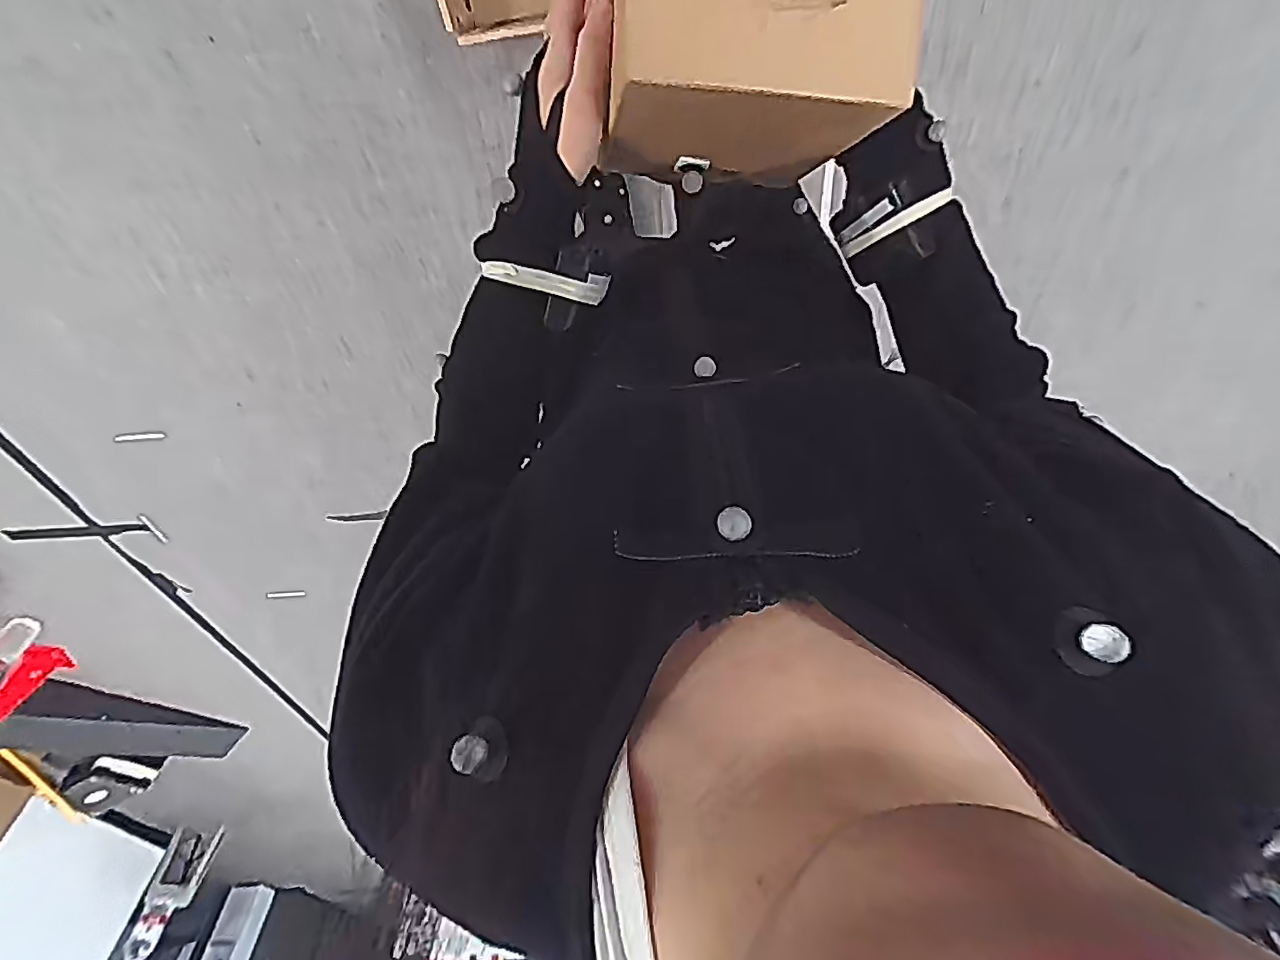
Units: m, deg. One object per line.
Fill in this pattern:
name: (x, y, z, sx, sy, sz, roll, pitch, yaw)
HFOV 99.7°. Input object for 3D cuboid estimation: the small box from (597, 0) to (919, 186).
small box: (0.061, -0.318, 0.354, 0.168, 0.176, 0.179, -1, 104, -9)
